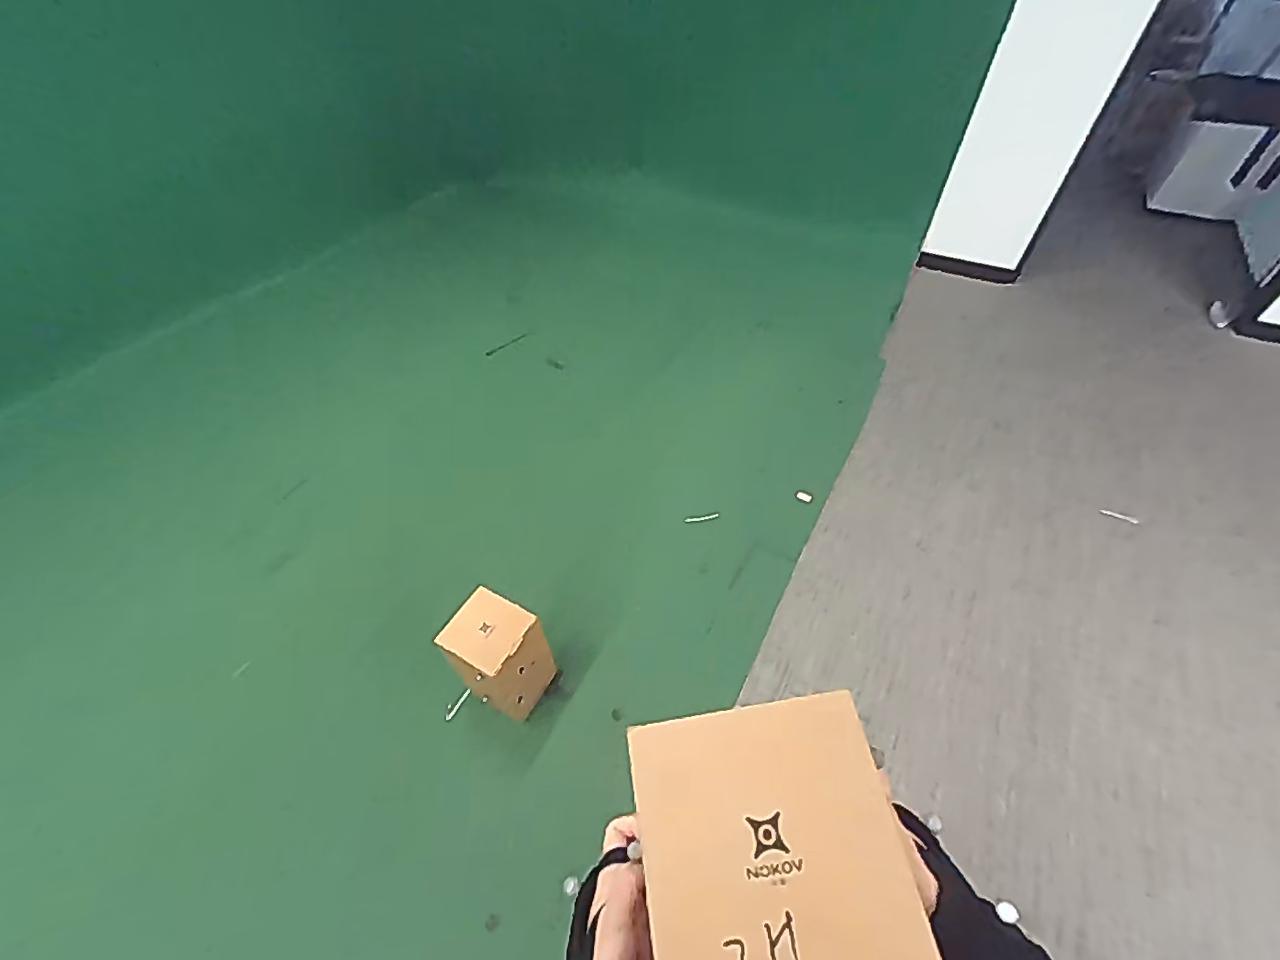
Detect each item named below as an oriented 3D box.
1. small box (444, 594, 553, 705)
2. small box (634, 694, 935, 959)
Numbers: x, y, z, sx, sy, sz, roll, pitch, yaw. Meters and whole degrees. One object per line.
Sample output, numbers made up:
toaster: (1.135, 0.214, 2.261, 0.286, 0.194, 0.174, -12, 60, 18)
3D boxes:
small box: (-0.334, 0.414, 1.310, 0.179, 0.176, 0.168, 21, 53, 20)
small box: (0.096, 0.284, 0.418, 0.168, 0.176, 0.179, -11, 57, 4)
